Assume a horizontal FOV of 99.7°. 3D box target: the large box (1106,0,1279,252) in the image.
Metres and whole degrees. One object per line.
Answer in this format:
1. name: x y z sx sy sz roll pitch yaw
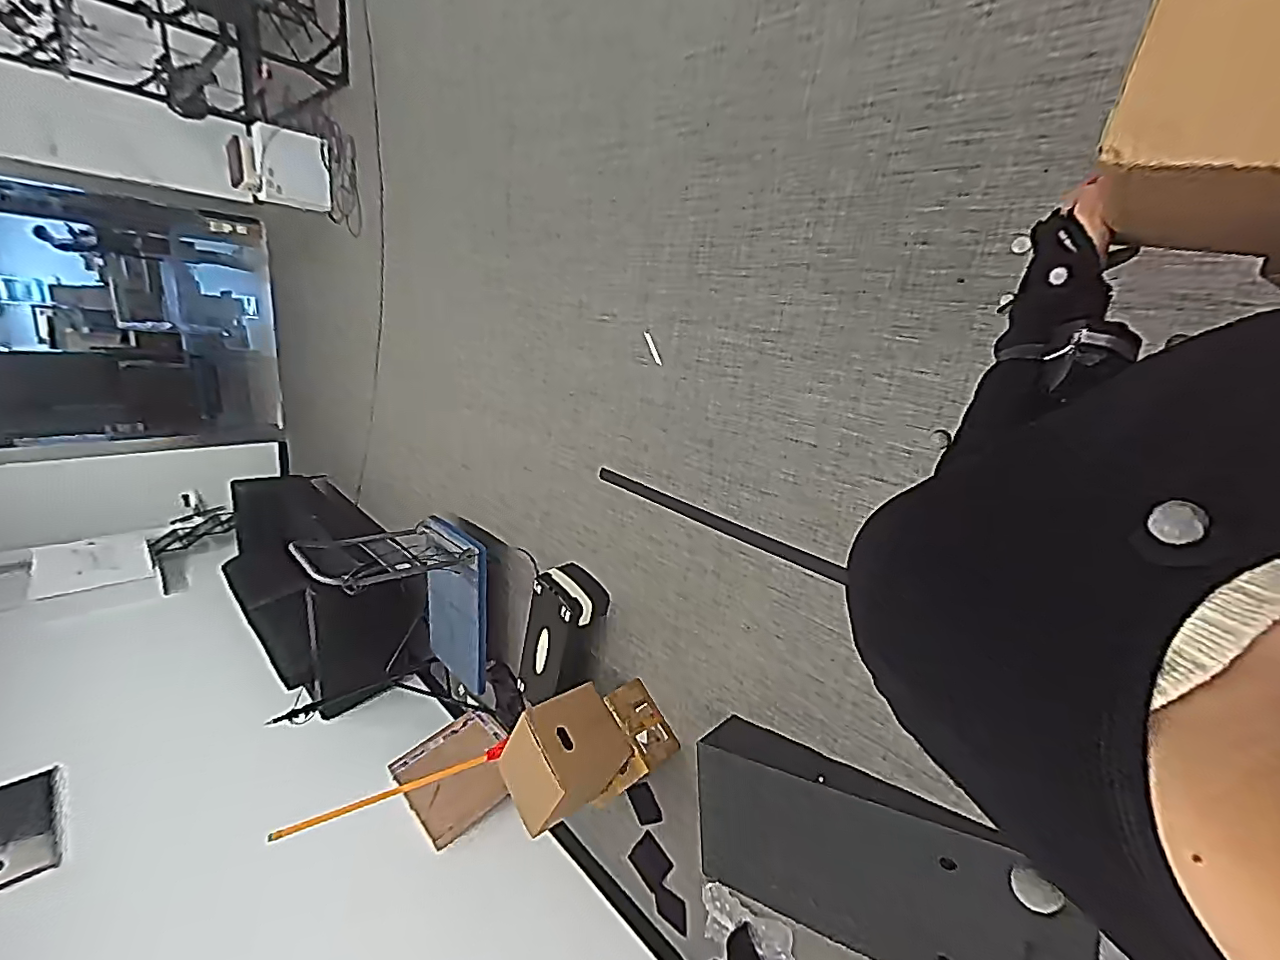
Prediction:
1. large box: 0.487 -0.262 0.206 0.408 0.320 0.320 24 117 34
